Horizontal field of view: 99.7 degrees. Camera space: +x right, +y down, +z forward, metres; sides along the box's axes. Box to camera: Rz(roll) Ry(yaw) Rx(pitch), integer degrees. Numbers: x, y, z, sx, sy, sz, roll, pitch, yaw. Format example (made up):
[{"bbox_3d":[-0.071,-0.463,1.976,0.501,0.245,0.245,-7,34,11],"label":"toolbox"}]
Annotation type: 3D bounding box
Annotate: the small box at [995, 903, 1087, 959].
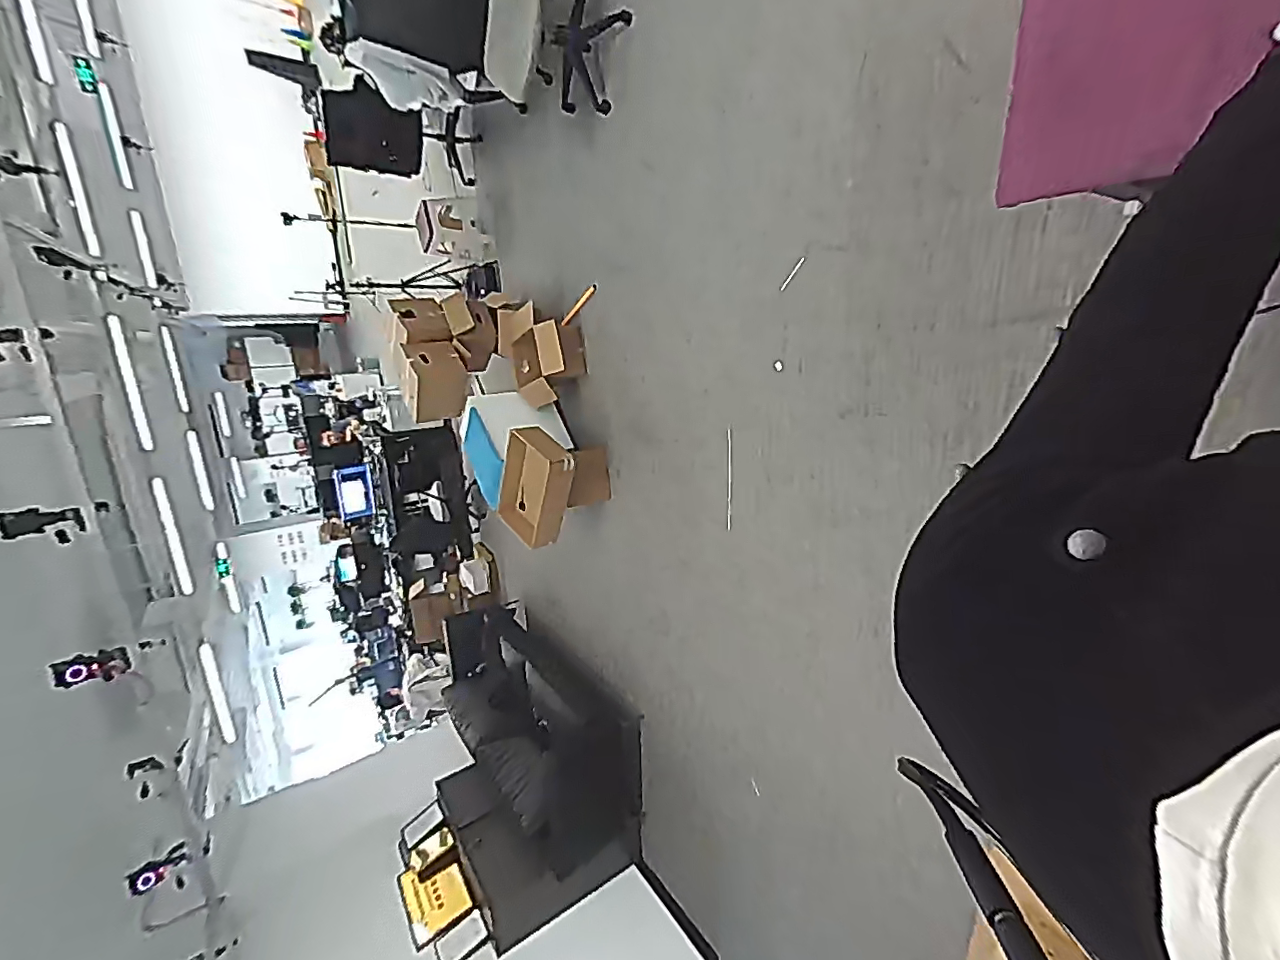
[{"bbox_3d":[1.175,1.410,1.588,0.168,0.176,0.179,25,122,51],"label":"small box"}]
